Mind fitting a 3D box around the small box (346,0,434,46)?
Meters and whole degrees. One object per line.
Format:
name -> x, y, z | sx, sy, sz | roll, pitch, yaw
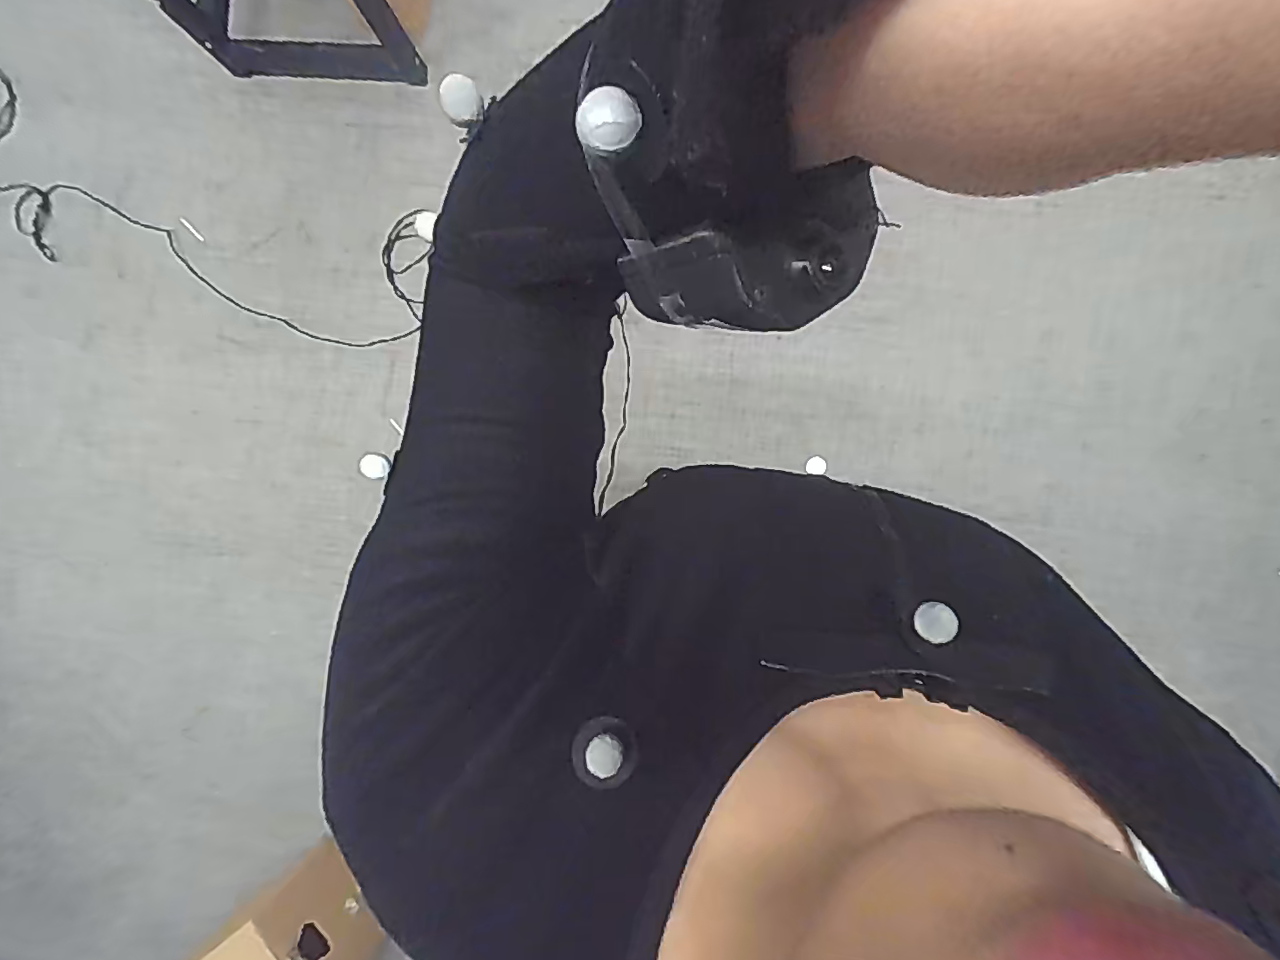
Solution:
small box -> -0.681, -1.330, 1.459 | 0.168, 0.176, 0.179 | 18, 92, 3
